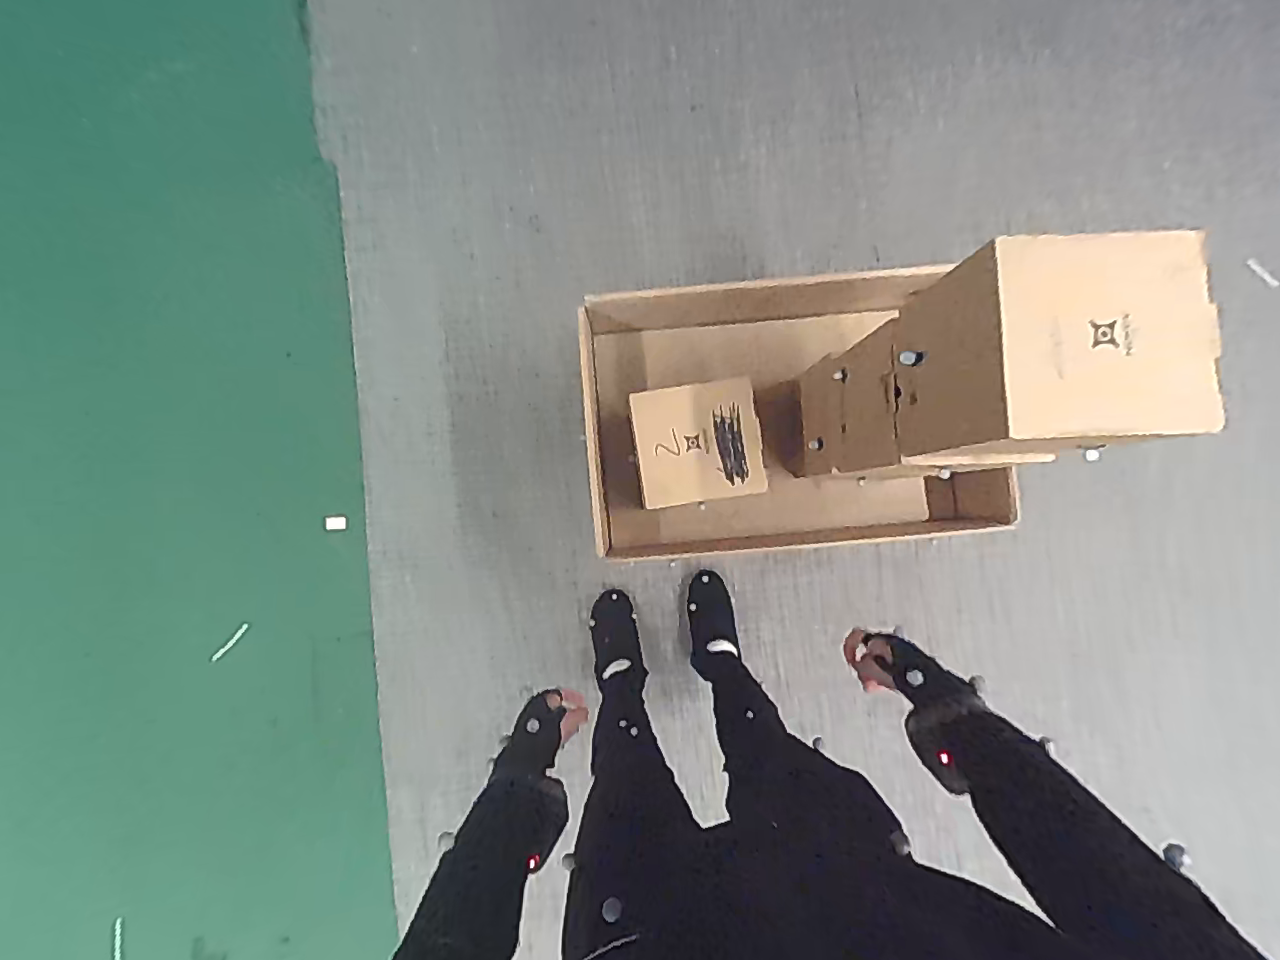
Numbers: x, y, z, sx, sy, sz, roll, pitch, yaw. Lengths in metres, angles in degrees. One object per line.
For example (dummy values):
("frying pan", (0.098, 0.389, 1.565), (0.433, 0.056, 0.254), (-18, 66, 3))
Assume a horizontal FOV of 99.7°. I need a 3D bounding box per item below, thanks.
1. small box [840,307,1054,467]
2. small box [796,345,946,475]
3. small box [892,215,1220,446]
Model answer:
("small box", (0.358, -0.105, 0.666), (0.179, 0.176, 0.168), (-2, 87, -1))
("small box", (0.344, -0.098, 0.830), (0.168, 0.176, 0.179), (0, 87, 0))
("small box", (0.363, -0.123, 0.504), (0.179, 0.176, 0.168), (-2, 87, 0))
